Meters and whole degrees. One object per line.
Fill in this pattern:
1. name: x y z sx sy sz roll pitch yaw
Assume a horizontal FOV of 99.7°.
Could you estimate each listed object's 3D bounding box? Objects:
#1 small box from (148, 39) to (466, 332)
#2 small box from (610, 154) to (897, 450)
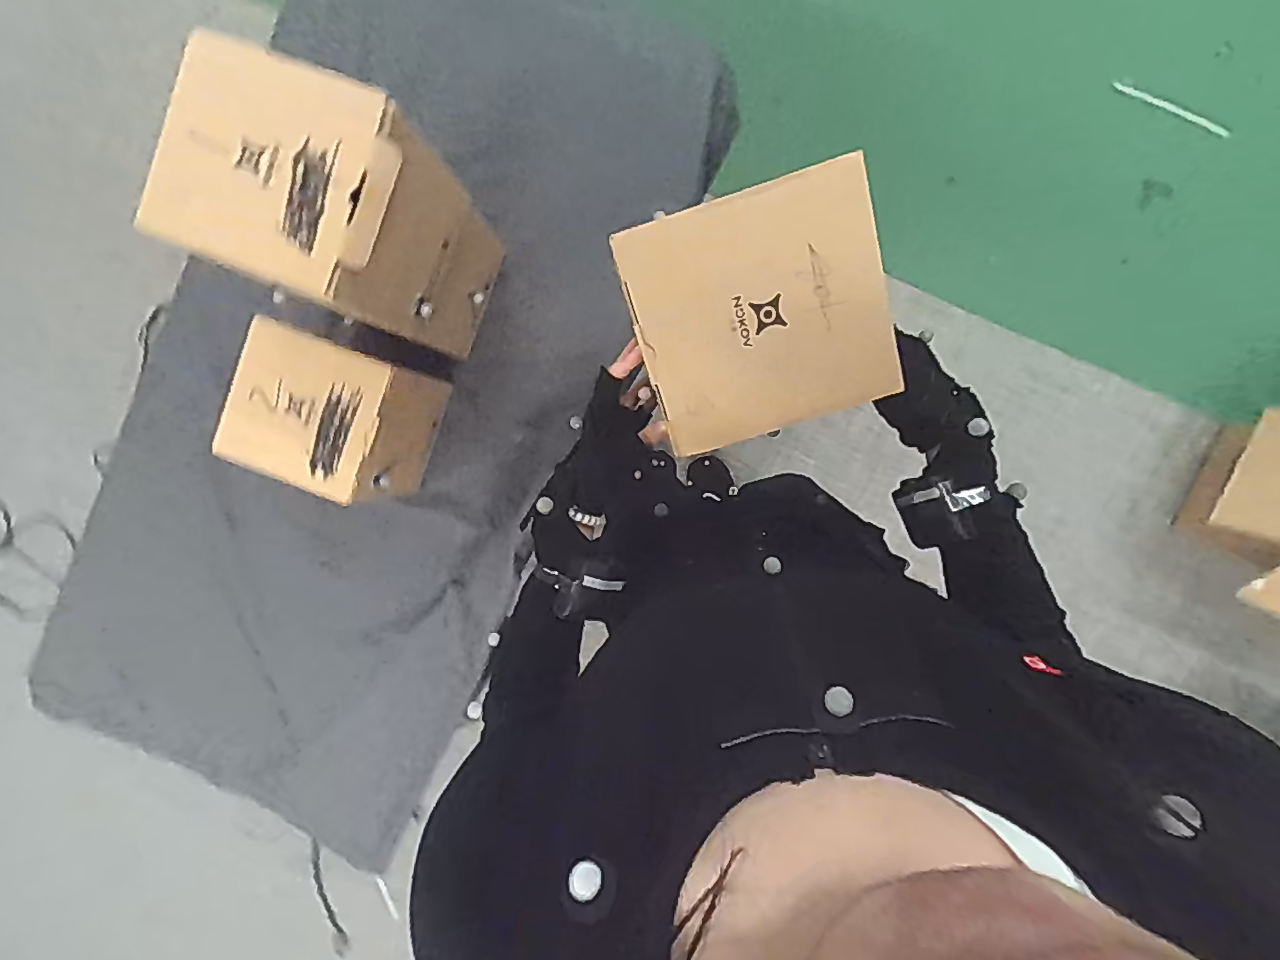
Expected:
1. small box: -0.296 -0.257 0.520 0.179 0.176 0.168 22 94 3
2. small box: 0.086 -0.140 0.461 0.179 0.176 0.168 -16 106 6
